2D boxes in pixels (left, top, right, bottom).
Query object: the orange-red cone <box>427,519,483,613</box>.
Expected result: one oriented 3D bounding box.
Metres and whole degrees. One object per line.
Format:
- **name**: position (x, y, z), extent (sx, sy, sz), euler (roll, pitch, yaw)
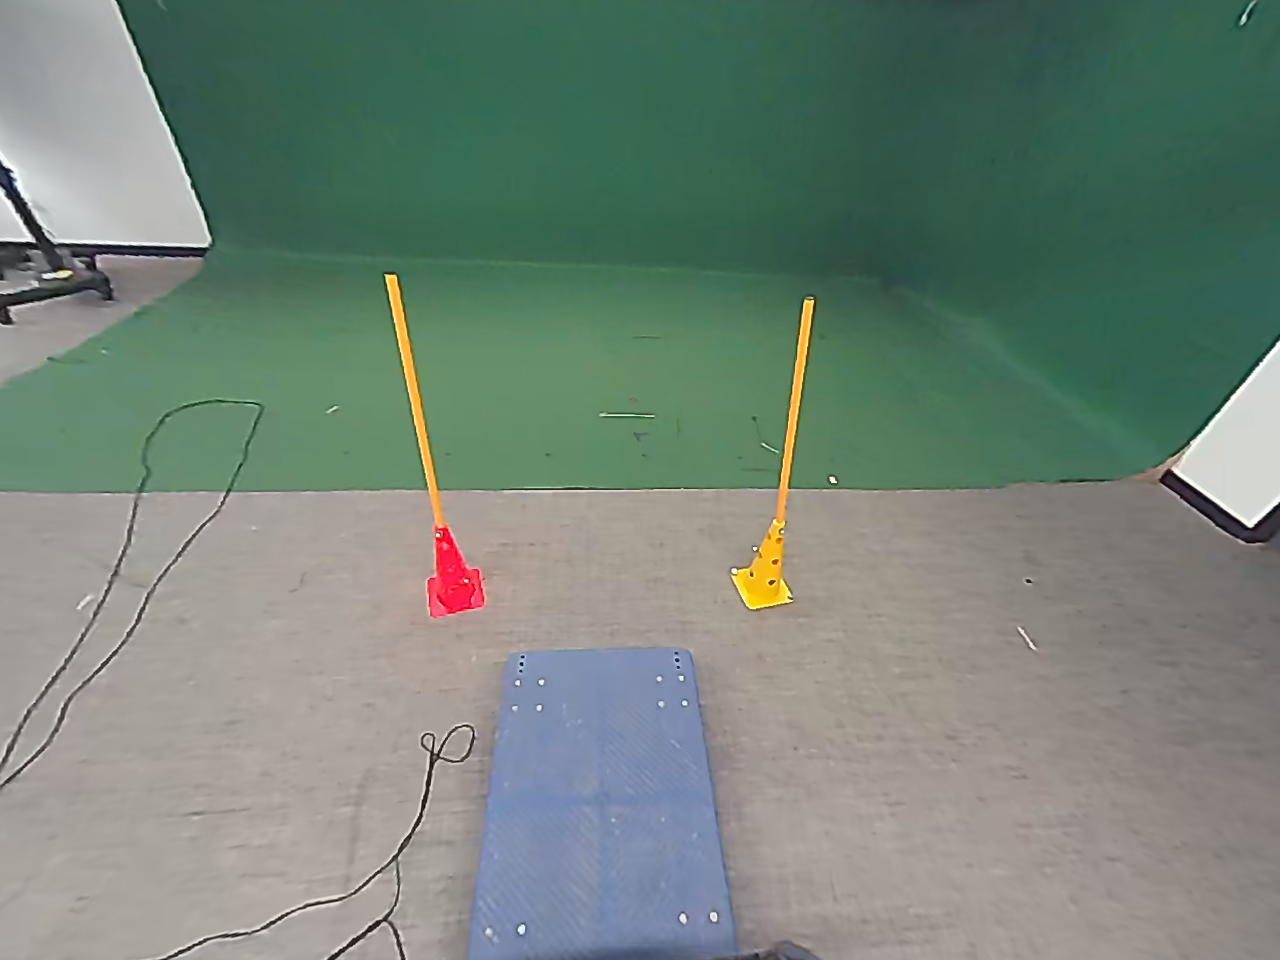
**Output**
- **orange-red cone**: position (-0.692, 0.280, 1.933), extent (0.199, 0.360, 0.198), euler (-11, 41, -16)
